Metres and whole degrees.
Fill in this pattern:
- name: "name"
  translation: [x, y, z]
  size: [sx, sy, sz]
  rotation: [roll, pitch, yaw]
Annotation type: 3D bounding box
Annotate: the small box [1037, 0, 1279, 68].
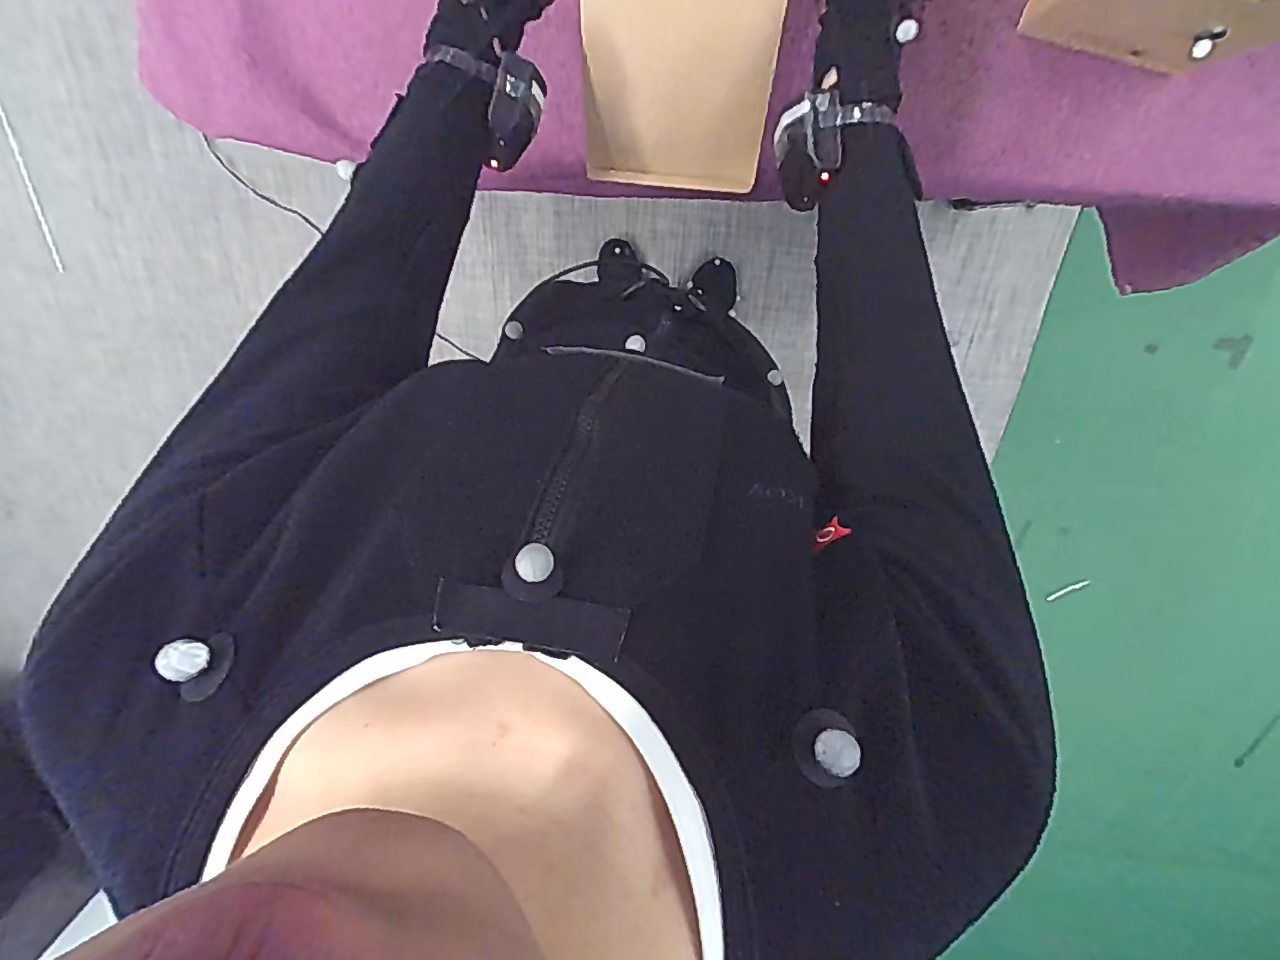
- name: "small box"
  translation: [0.451, -0.449, 0.408]
  size: [0.168, 0.176, 0.179]
  rotation: [15, 115, -2]
